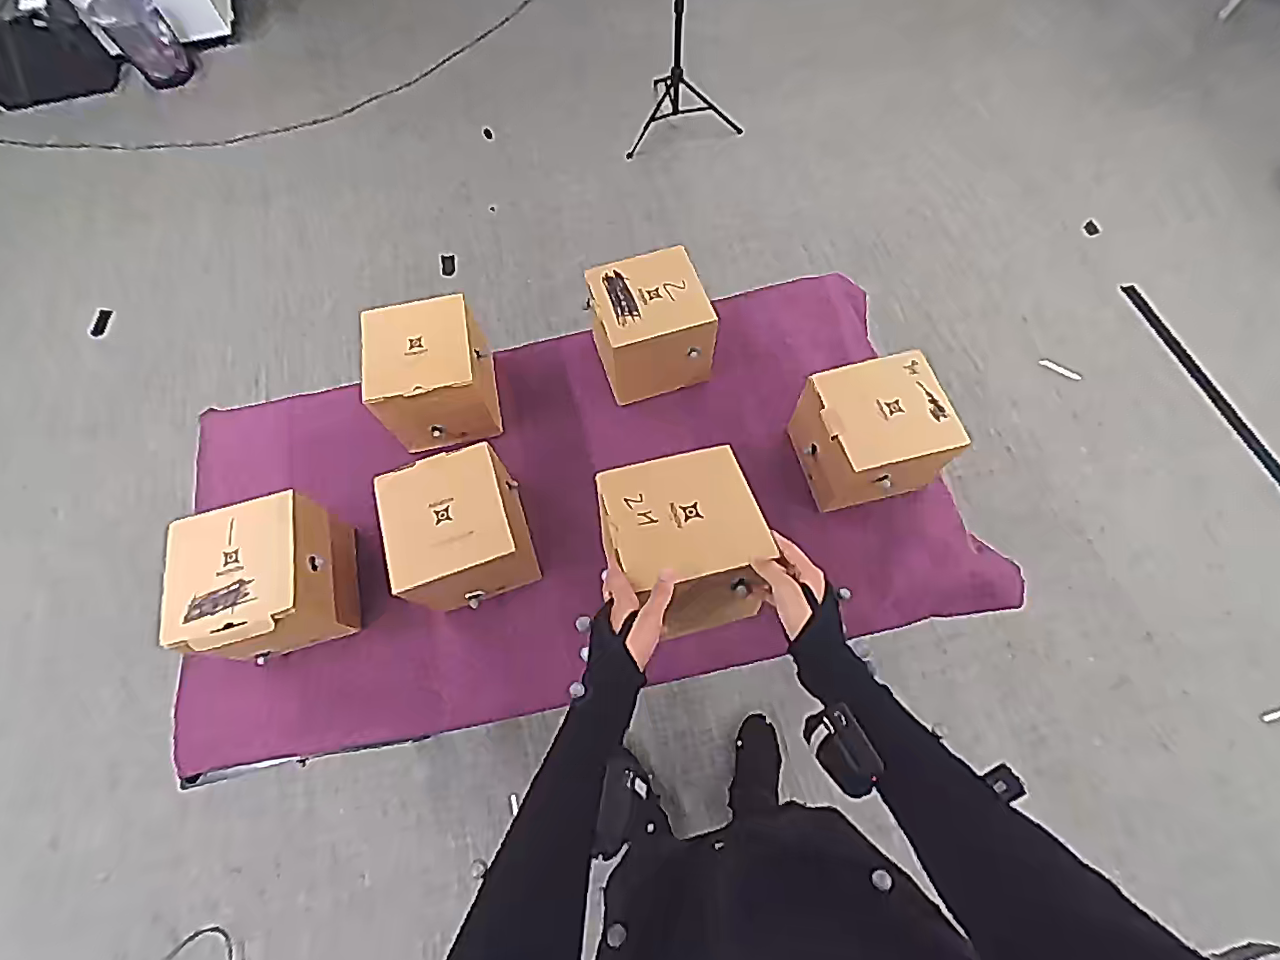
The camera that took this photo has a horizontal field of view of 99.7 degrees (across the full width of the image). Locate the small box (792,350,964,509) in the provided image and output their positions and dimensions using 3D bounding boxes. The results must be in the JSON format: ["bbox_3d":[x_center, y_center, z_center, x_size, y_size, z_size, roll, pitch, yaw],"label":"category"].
[{"bbox_3d":[0.349,-0.069,0.840,0.179,0.176,0.168,-14,68,-2],"label":"small box"}]

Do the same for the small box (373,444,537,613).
[{"bbox_3d":[-0.265,0.078,0.801,0.168,0.176,0.179,-19,67,-5],"label":"small box"}]

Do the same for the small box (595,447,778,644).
[{"bbox_3d":[0.048,0.087,0.684,0.179,0.176,0.168,-13,56,-8],"label":"small box"}]

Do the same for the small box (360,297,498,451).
[{"bbox_3d":[-0.347,-0.172,0.906,0.168,0.176,0.179,-12,68,-4],"label":"small box"}]

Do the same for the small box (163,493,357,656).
[{"bbox_3d":[-0.531,0.145,0.779,0.168,0.176,0.179,-16,66,-5],"label":"small box"}]
